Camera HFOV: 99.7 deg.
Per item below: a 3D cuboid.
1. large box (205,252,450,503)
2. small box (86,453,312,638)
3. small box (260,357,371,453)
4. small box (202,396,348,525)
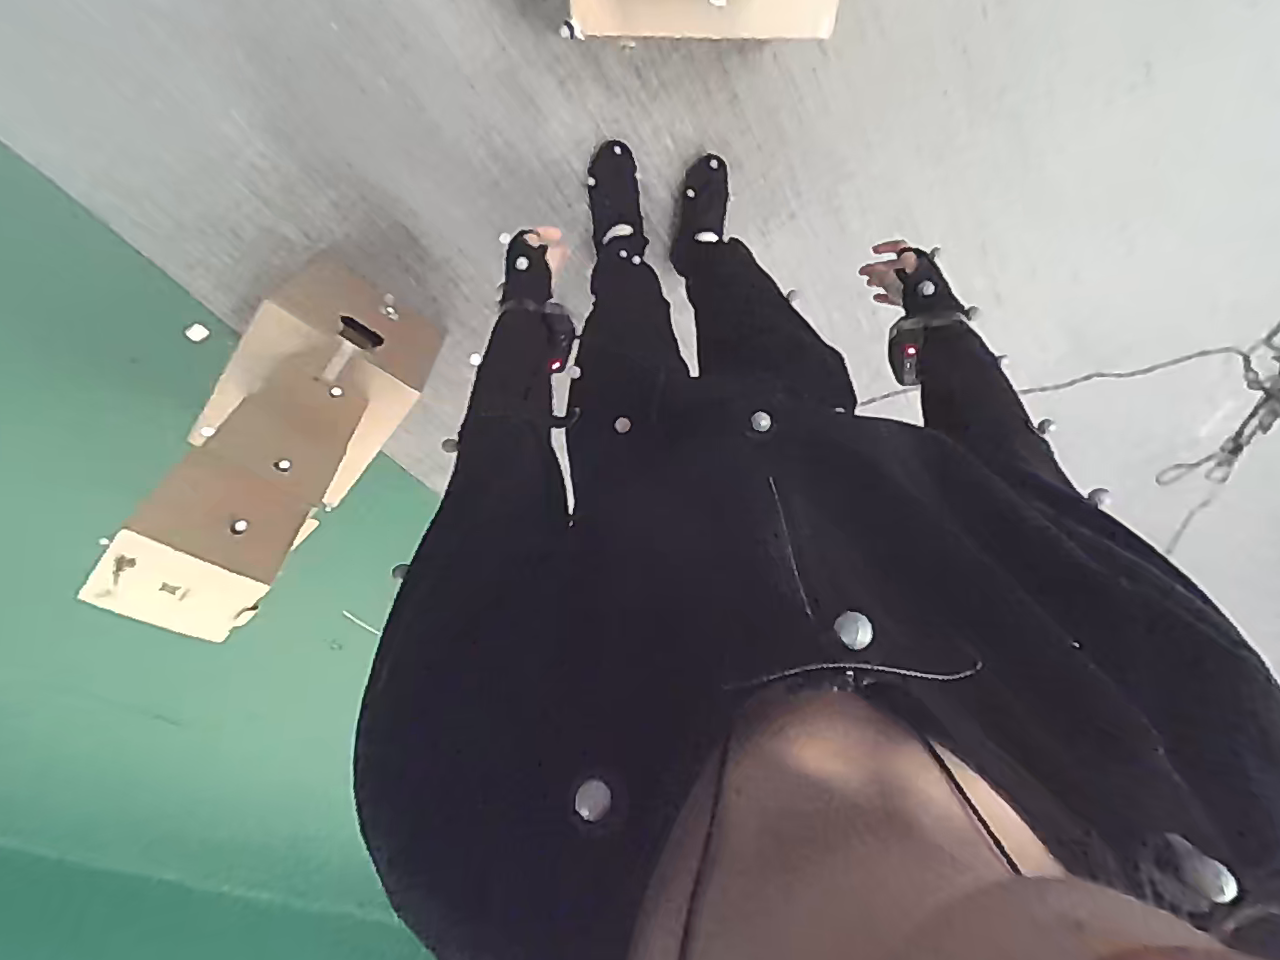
[{"bbox_3d":[-0.695,-0.232,1.249,0.320,0.320,0.408,34,118,-27],"label":"large box"},{"bbox_3d":[-0.618,0.093,0.782,0.168,0.176,0.179,-40,124,21],"label":"small box"},{"bbox_3d":[-0.653,-0.100,1.045,0.179,0.176,0.168,-40,123,21],"label":"small box"},{"bbox_3d":[-0.631,-0.009,0.911,0.168,0.176,0.179,-38,124,21],"label":"small box"}]
